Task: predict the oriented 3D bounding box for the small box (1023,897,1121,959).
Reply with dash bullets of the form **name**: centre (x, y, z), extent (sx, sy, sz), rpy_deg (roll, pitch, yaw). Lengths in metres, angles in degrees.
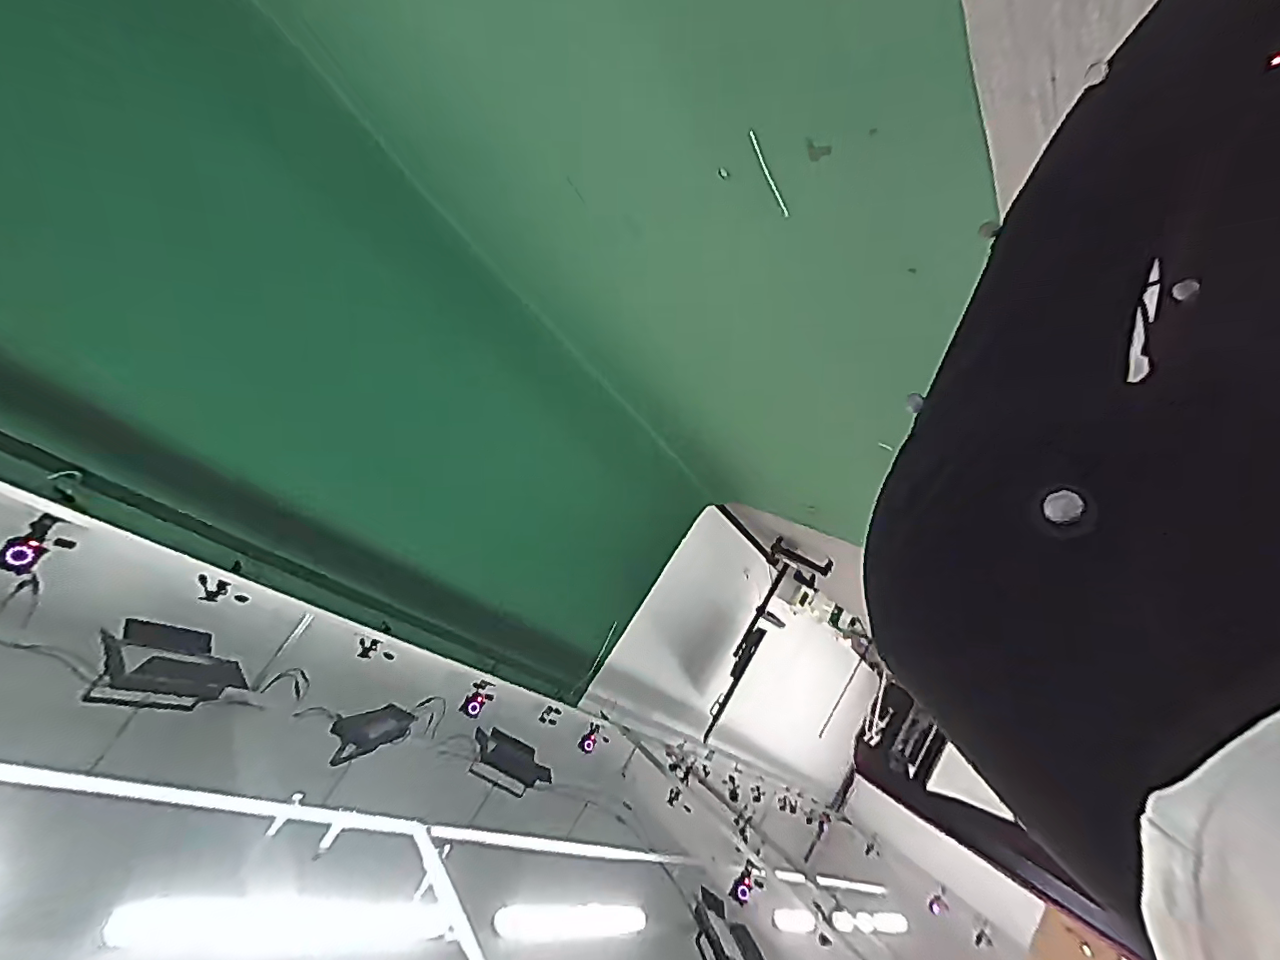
- **small box**: centre (1.173, 1.276, 1.468), extent (0.168, 0.176, 0.179), rpy_deg (21, 164, 46)
